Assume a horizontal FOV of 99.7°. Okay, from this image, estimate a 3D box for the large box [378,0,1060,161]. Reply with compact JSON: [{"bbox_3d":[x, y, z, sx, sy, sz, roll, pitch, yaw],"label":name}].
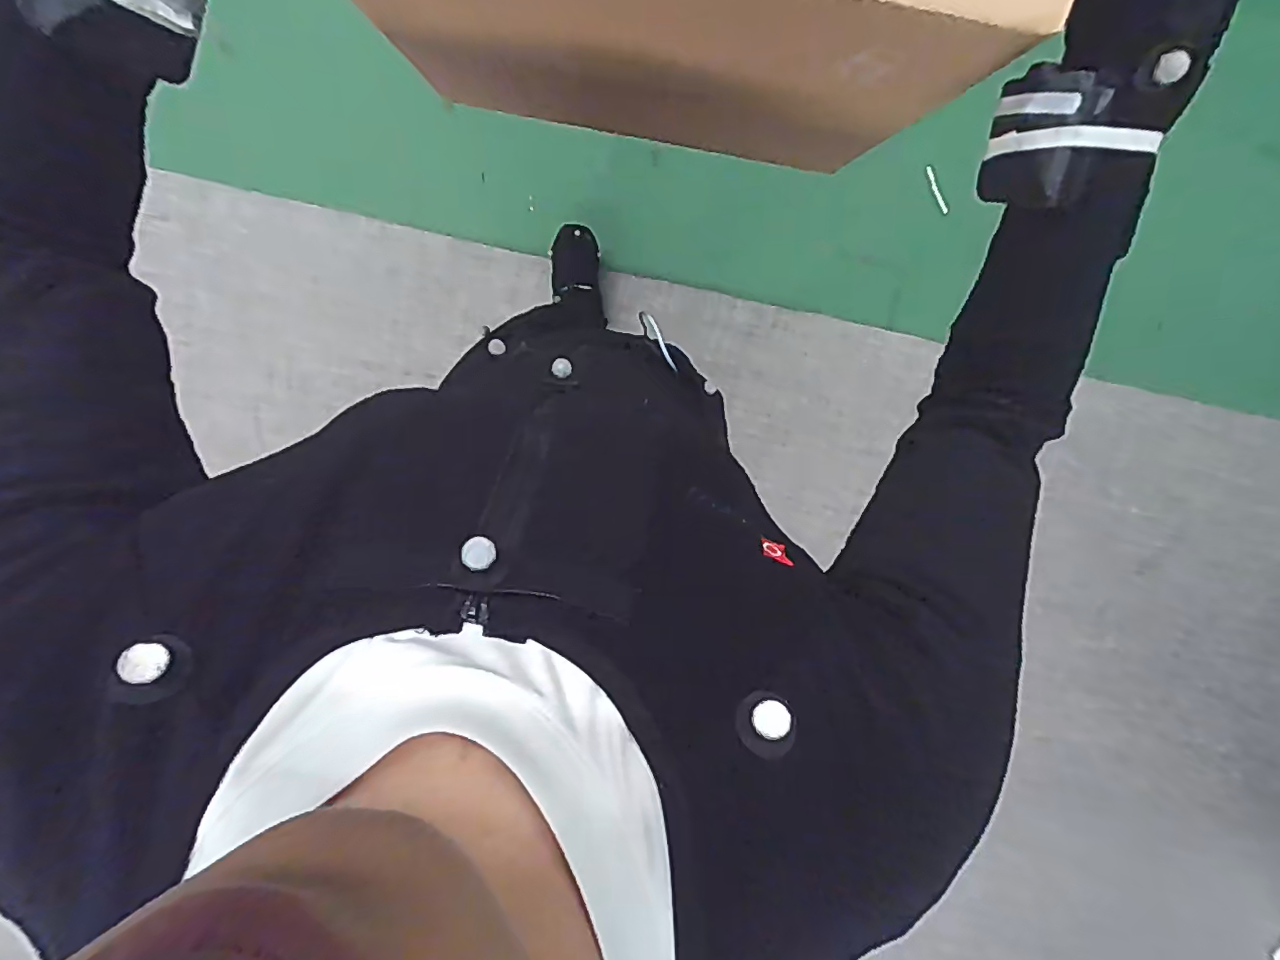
[{"bbox_3d":[0.034,-0.450,0.364,0.408,0.320,0.320,7,108,-5],"label":"large box"}]
